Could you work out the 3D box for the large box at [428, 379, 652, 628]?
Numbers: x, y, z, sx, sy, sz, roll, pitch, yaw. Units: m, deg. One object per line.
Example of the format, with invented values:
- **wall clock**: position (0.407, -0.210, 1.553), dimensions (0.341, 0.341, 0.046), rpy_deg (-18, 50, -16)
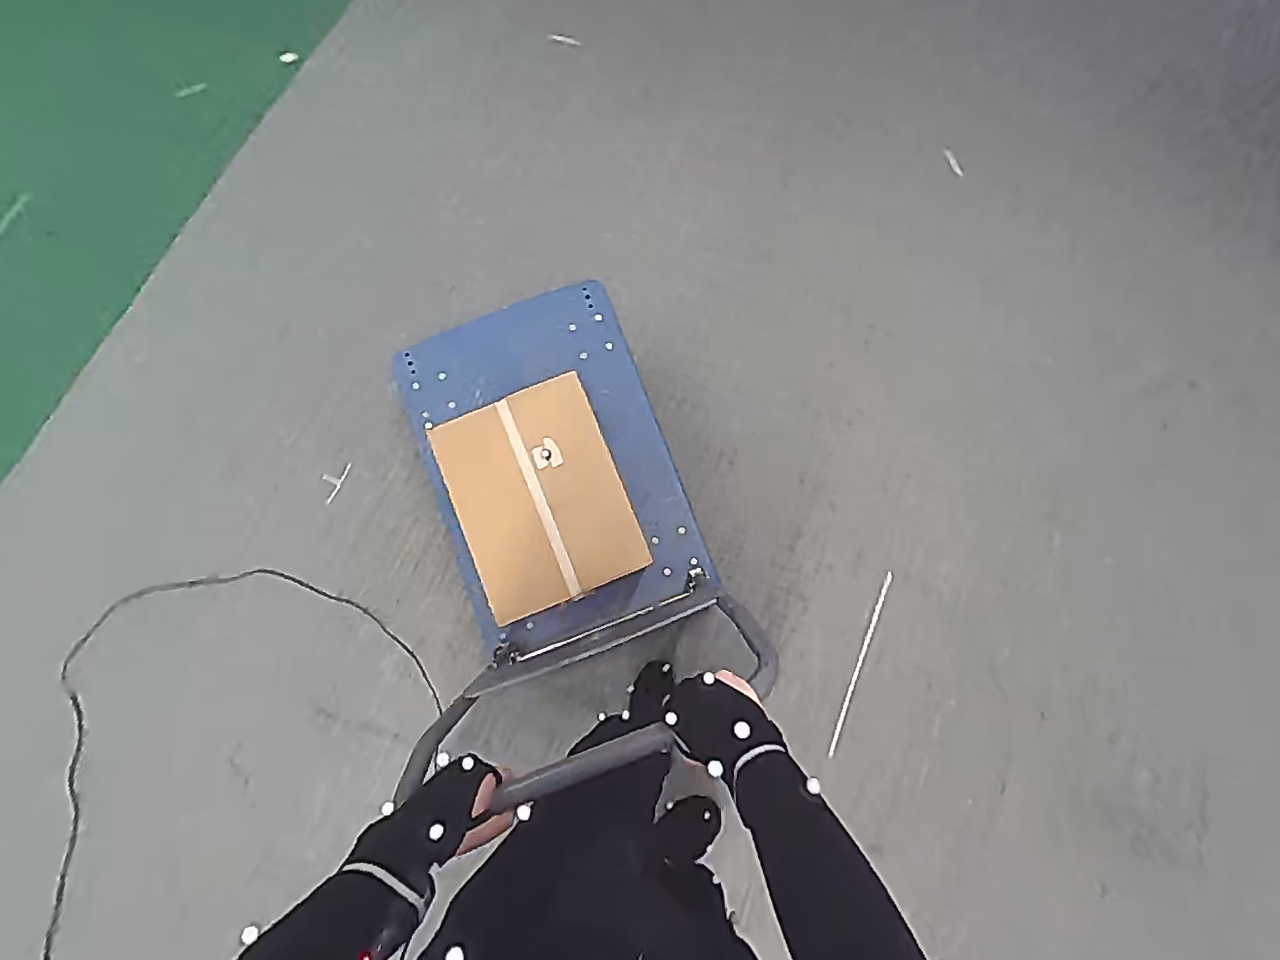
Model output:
- **large box**: position (-0.191, 0.058, 1.179), dimensions (0.320, 0.320, 0.408), rpy_deg (-23, 83, -2)
